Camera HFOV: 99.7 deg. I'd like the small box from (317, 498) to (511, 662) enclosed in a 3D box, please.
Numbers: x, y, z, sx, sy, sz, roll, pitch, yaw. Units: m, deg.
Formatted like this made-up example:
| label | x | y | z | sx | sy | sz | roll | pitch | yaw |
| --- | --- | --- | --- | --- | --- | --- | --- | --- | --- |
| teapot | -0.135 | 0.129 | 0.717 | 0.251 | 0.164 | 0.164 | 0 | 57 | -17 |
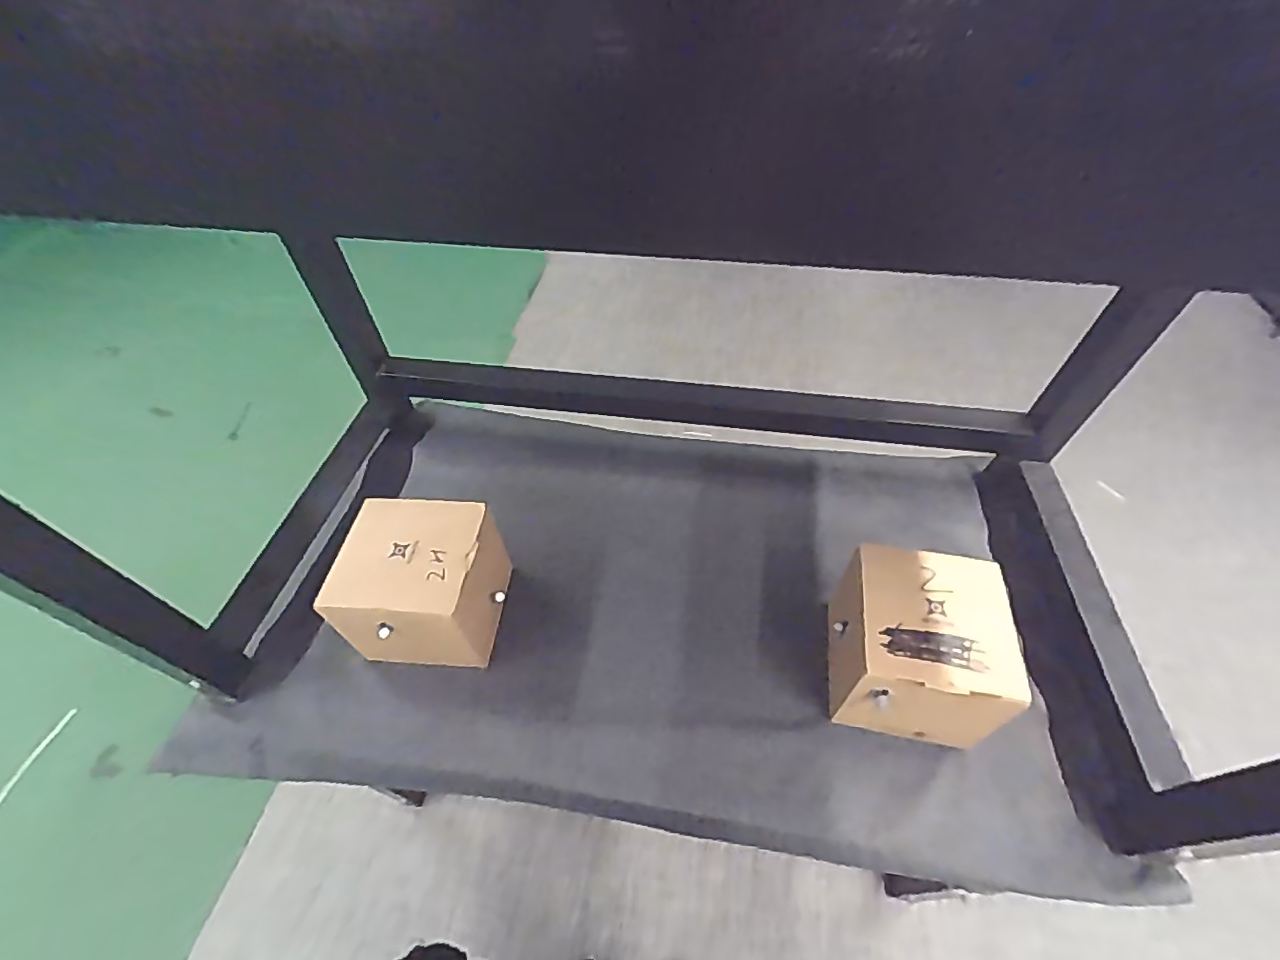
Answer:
| label | x | y | z | sx | sy | sz | roll | pitch | yaw |
| --- | --- | --- | --- | --- | --- | --- | --- | --- | --- |
| small box | -0.297 | 0.143 | 0.756 | 0.179 | 0.176 | 0.168 | 3 | 51 | 4 |
